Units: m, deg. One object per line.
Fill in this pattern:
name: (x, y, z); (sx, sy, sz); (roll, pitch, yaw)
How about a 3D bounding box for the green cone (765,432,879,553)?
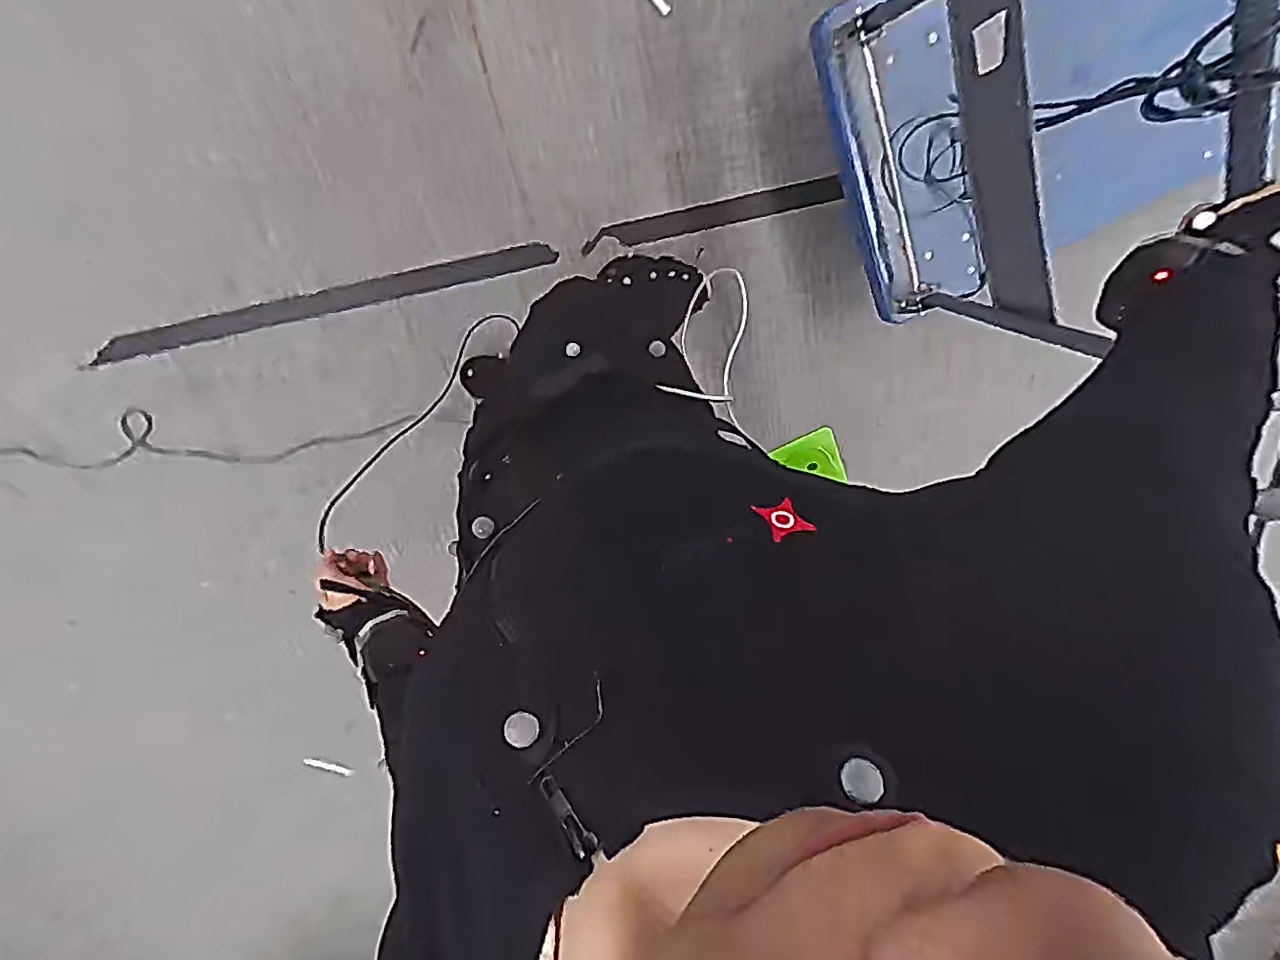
green cone: (0.471, 0.057, 1.298); (0.202, 0.368, 0.200); (-26, 115, 6)
